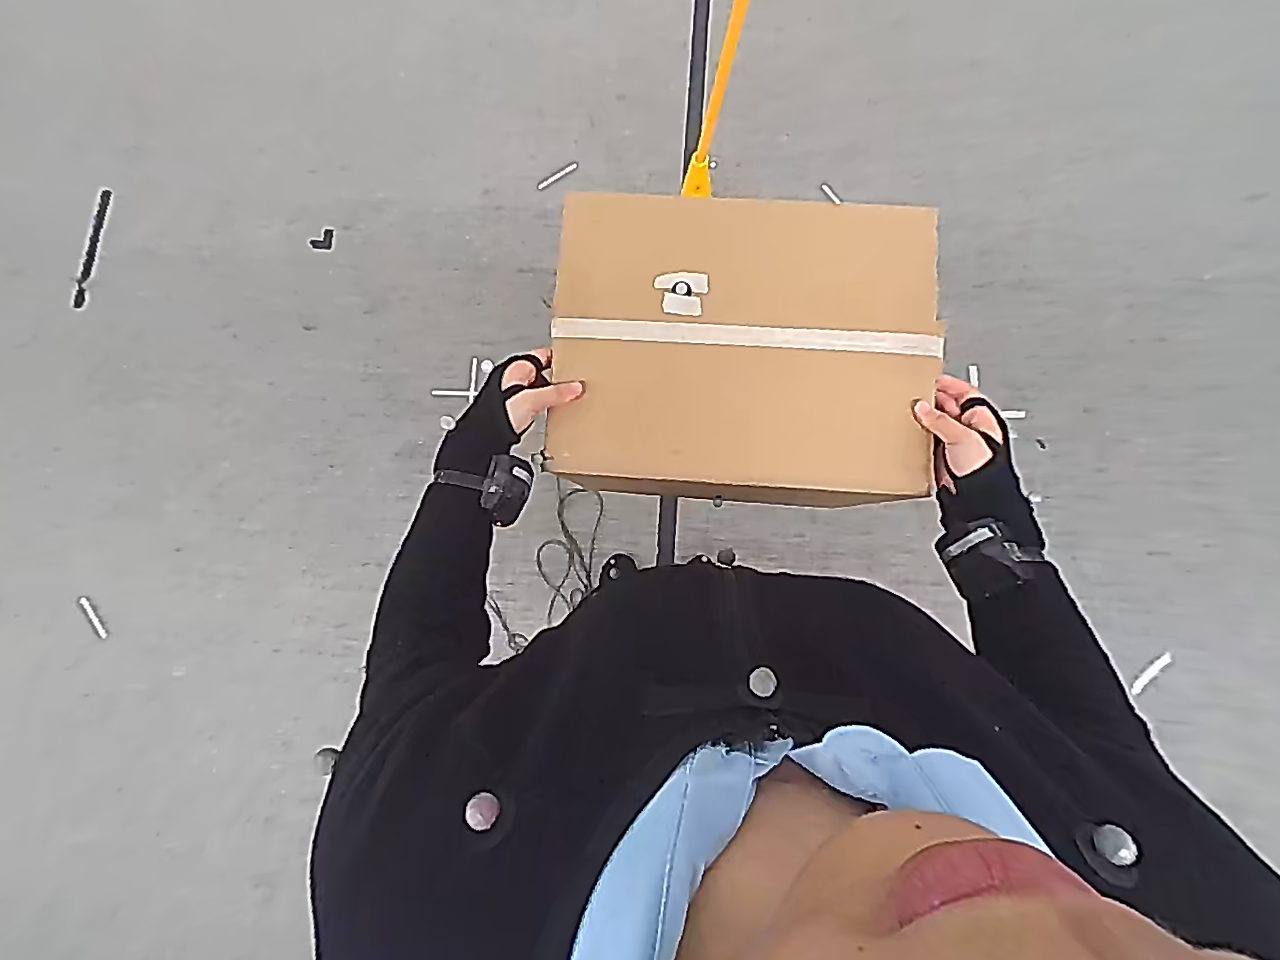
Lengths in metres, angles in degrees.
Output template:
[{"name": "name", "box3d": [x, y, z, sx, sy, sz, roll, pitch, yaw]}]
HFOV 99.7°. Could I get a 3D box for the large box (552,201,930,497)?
[{"name": "large box", "box3d": [0.120, -0.143, 0.734, 0.408, 0.320, 0.320, 3, 84, 4]}]
